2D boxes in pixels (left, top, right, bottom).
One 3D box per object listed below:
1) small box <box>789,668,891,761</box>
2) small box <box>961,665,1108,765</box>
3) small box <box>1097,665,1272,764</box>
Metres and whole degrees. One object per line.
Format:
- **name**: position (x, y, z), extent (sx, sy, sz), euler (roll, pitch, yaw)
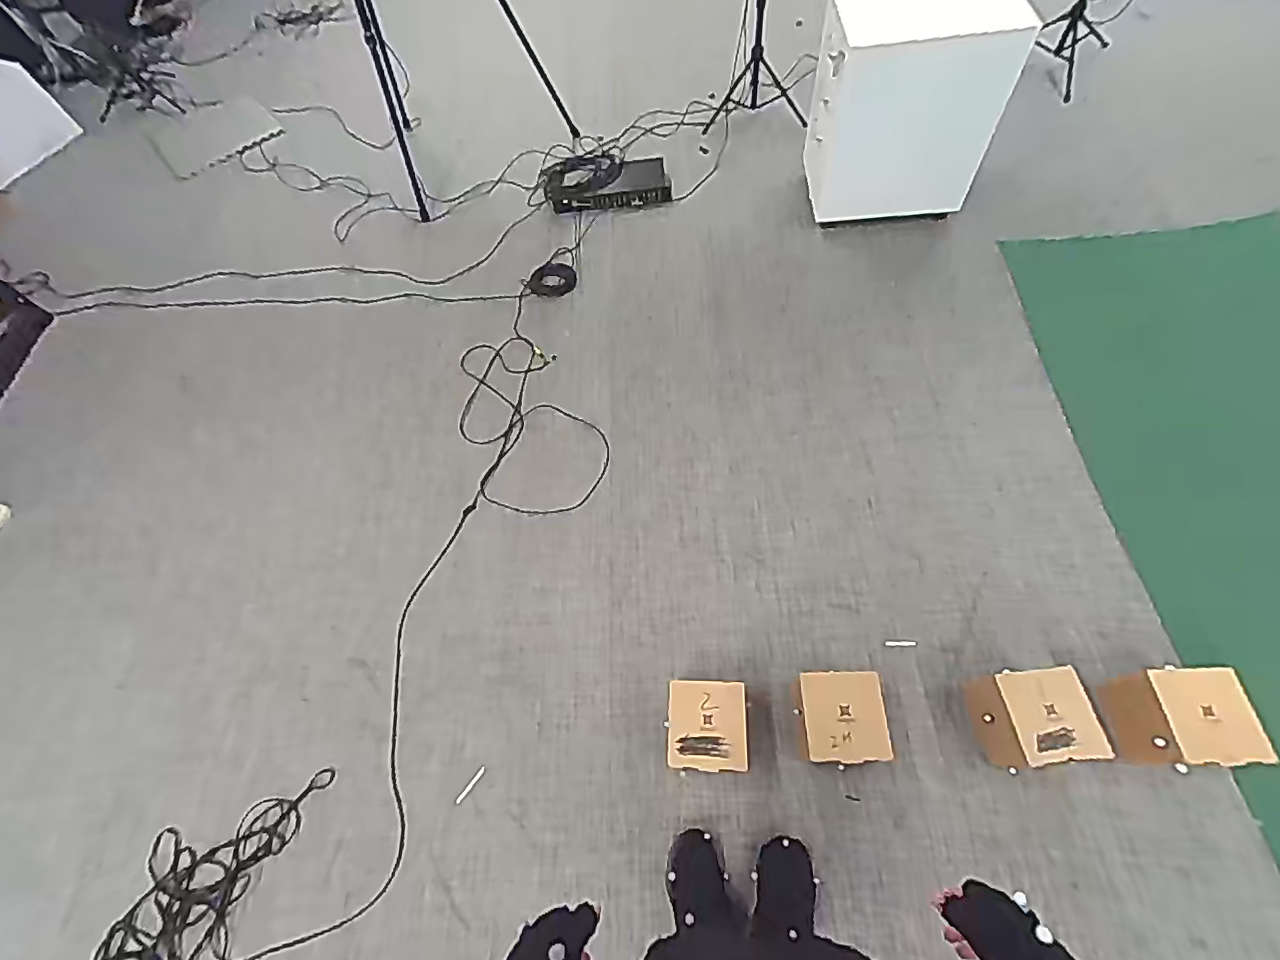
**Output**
- **small box**: position (0.432, 0.521, 1.198), extent (0.168, 0.176, 0.179), euler (-3, 62, 6)
- **small box**: position (0.833, 0.508, 1.164), extent (0.168, 0.176, 0.179), euler (-7, 60, 2)
- **small box**: position (1.124, 0.497, 1.139), extent (0.168, 0.176, 0.179), euler (-4, 62, 5)
